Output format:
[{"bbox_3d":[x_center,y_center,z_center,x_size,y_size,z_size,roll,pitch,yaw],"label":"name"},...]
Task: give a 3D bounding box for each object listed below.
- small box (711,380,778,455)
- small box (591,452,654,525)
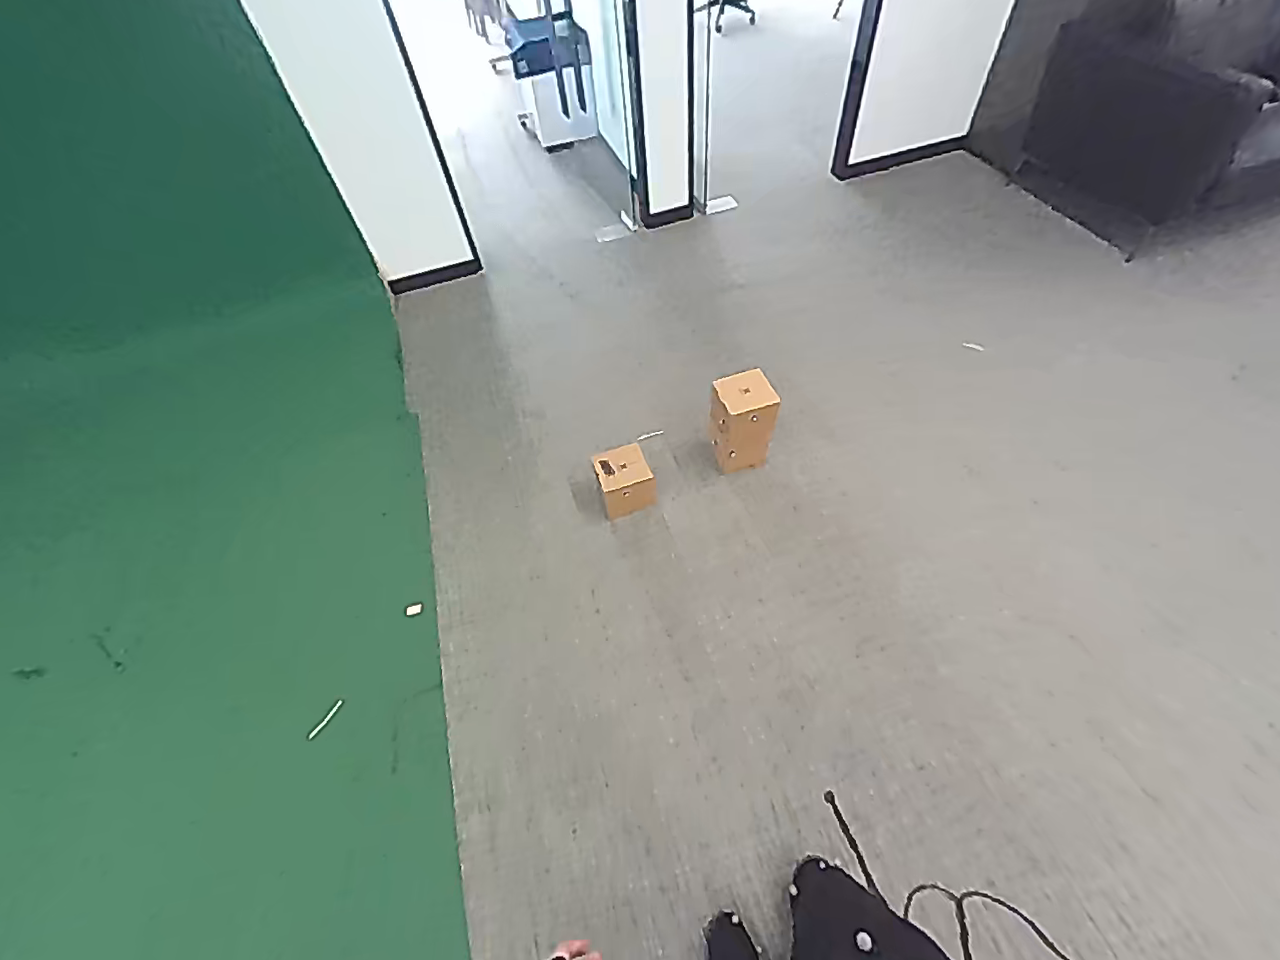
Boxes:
[{"bbox_3d":[0.348,-0.208,1.832,0.179,0.176,0.168,-15,53,-8],"label":"small box"},{"bbox_3d":[-0.057,0.035,1.892,0.179,0.176,0.168,-17,53,-9],"label":"small box"}]
